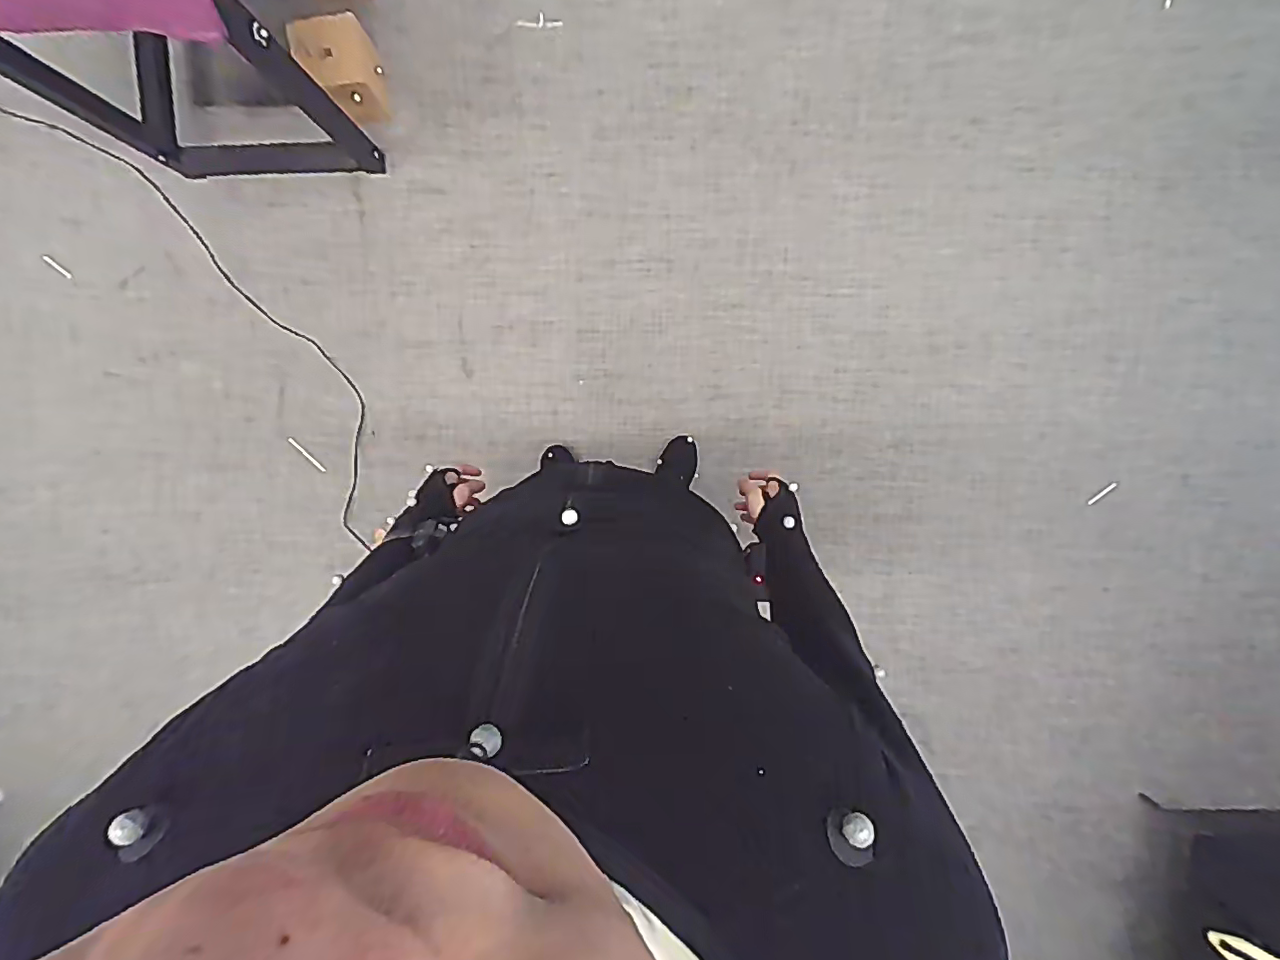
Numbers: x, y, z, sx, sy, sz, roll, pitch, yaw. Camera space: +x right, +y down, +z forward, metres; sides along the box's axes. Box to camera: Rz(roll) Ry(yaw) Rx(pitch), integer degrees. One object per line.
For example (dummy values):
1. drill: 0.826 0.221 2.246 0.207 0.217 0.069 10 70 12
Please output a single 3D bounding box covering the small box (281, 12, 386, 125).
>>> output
1. small box: -0.794 -1.076 1.425 0.179 0.176 0.168 -9 96 1
